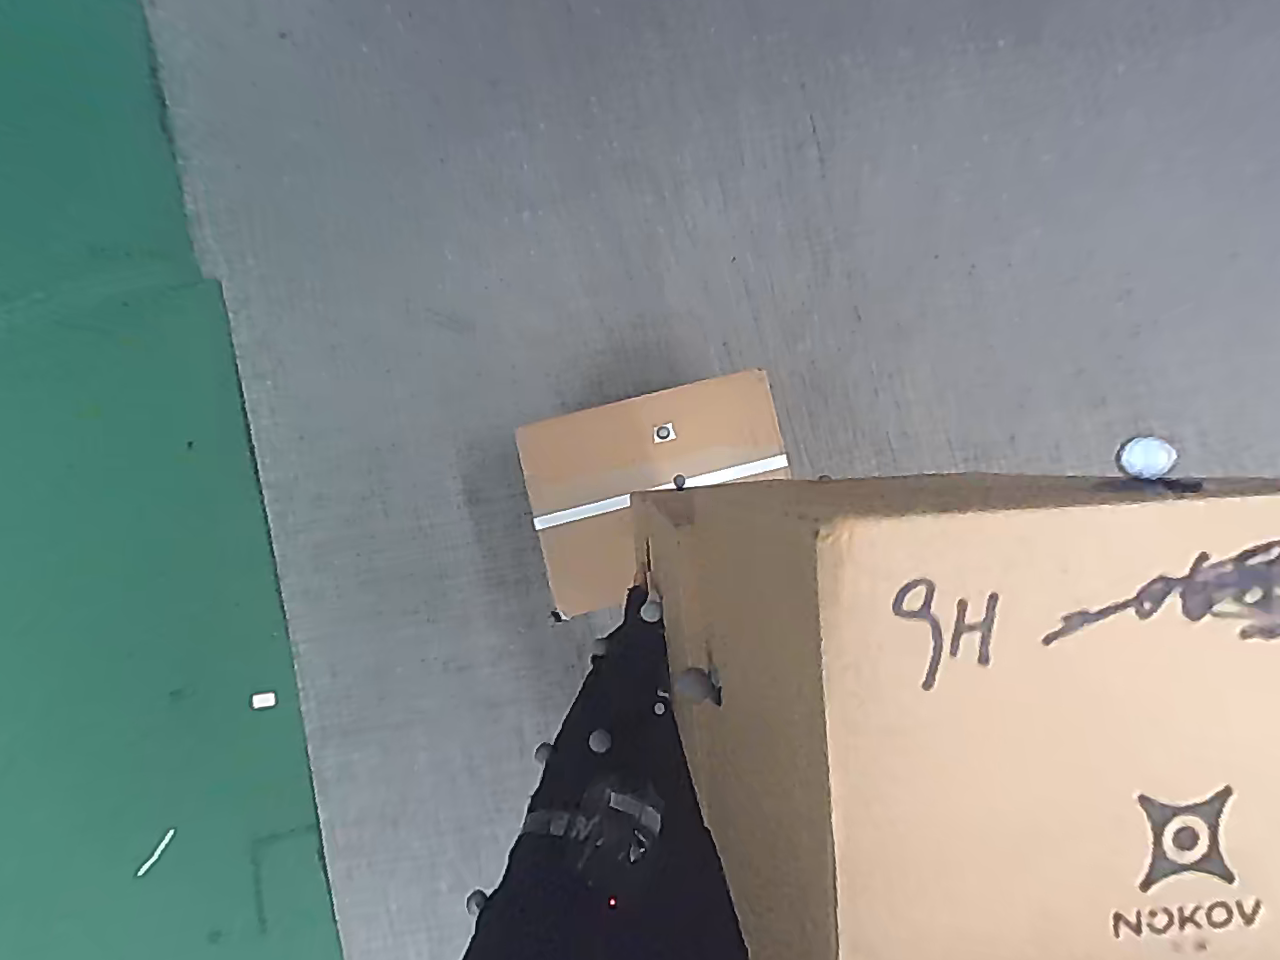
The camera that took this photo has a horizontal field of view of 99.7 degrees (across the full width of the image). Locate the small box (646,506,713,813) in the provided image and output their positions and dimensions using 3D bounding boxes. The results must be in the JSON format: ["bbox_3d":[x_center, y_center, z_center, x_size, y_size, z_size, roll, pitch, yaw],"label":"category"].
[{"bbox_3d":[0.108,0.096,0.376,0.179,0.176,0.168,-10,92,-4],"label":"small box"}]

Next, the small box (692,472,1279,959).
[{"bbox_3d":[0.115,0.090,0.213,0.168,0.176,0.179,-3,92,-3],"label":"small box"}]

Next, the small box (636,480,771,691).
[{"bbox_3d":[0.090,0.089,0.539,0.179,0.176,0.168,-6,92,-5],"label":"small box"}]
